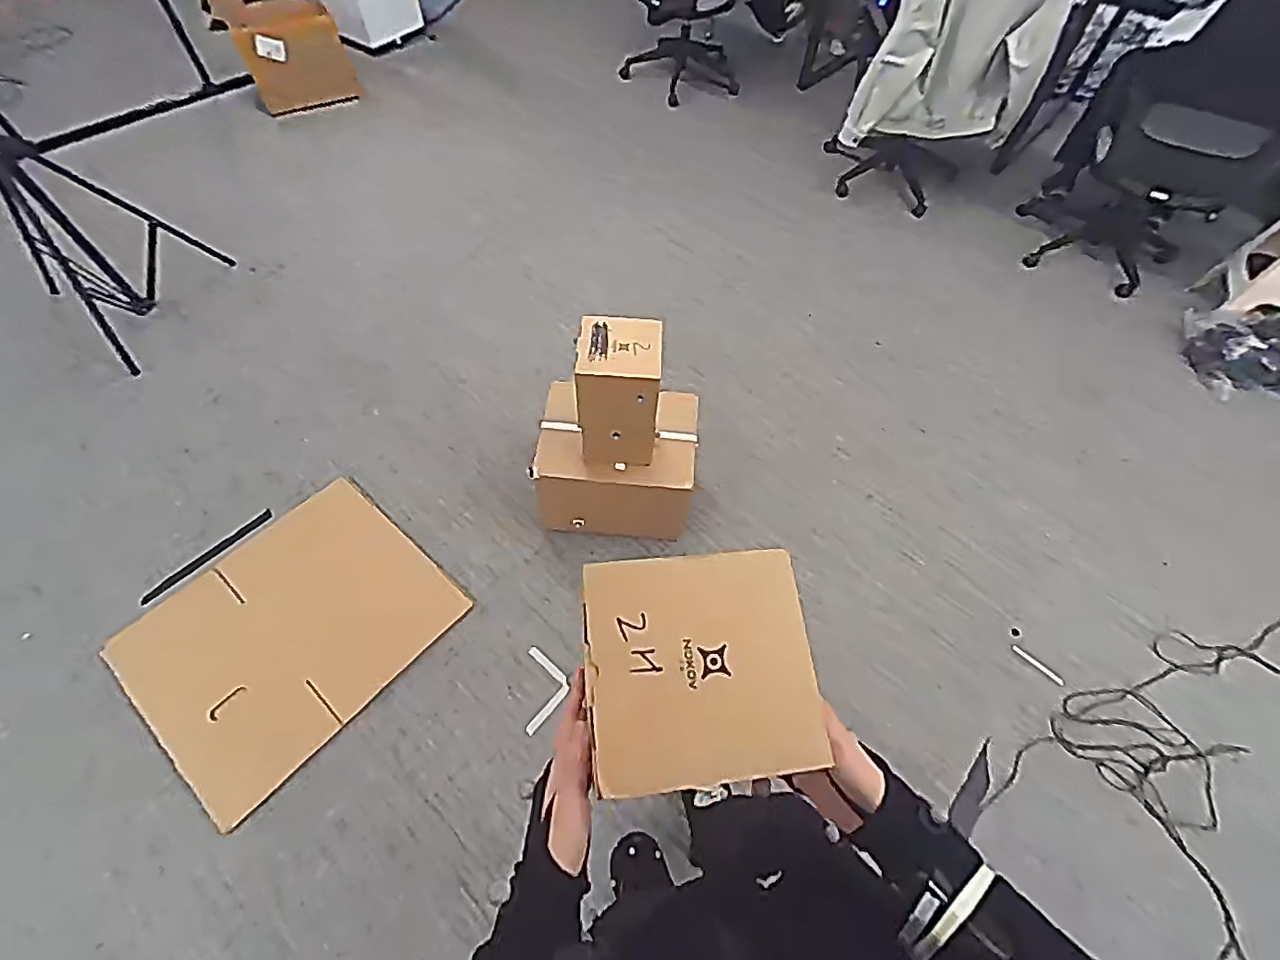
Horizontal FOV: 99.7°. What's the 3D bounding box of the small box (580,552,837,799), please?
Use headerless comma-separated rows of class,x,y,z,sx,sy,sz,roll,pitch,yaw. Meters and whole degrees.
small box,0.041,0.168,0.481,0.179,0.176,0.168,-3,67,-9

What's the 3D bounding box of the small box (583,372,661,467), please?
small box,-0.044,-0.145,1.330,0.179,0.176,0.168,4,60,-2
